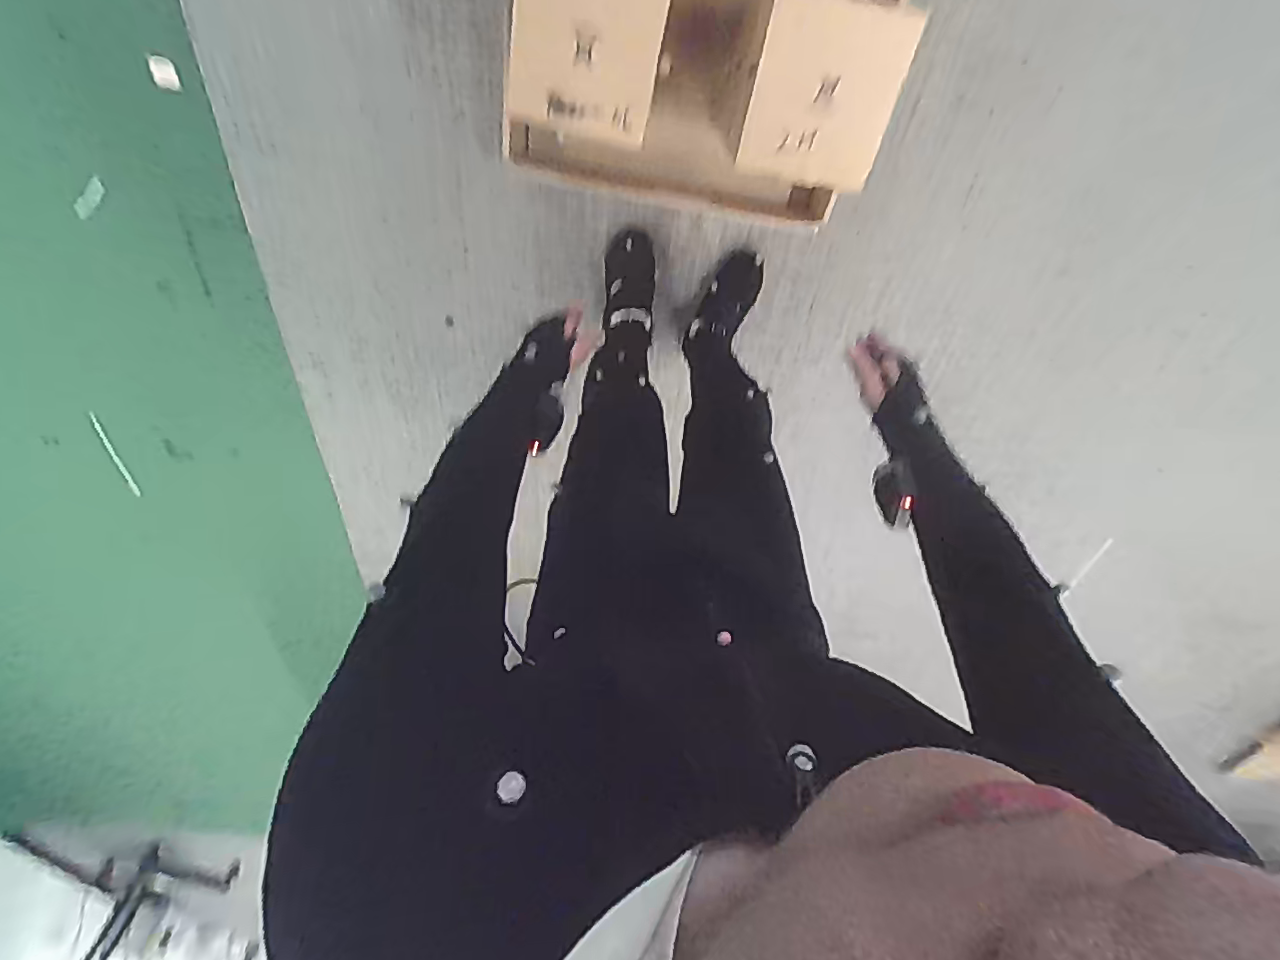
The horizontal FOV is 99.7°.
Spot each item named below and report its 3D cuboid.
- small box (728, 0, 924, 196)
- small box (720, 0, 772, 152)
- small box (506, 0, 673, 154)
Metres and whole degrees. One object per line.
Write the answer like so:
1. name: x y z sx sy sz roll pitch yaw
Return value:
1. small box: 0.213 -0.483 0.683 0.168 0.176 0.179 10 127 -3
2. small box: 0.223 -0.584 0.814 0.168 0.176 0.179 12 125 -5
3. small box: -0.059 -0.525 0.662 0.168 0.176 0.179 11 125 -7
